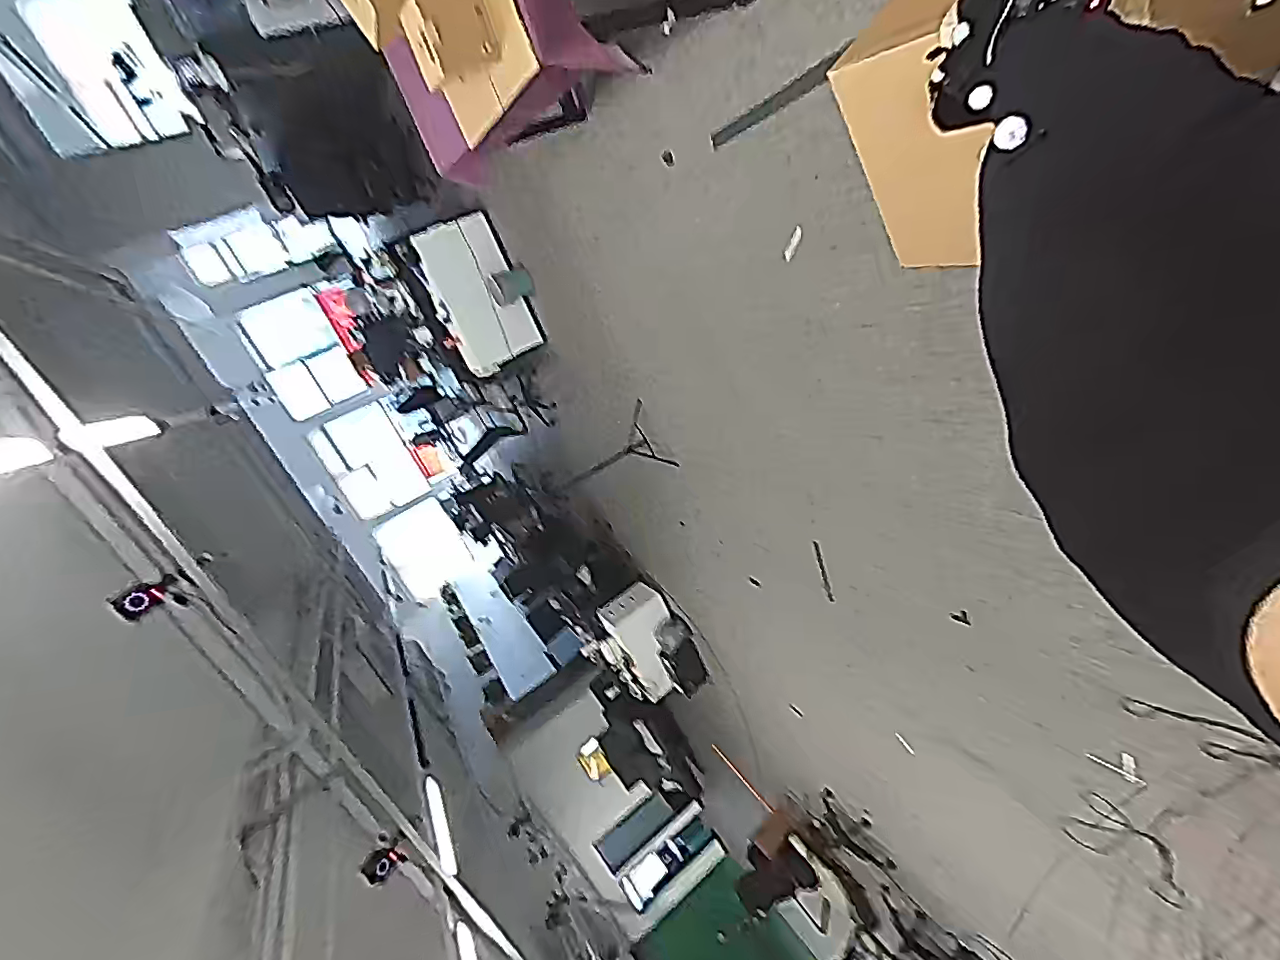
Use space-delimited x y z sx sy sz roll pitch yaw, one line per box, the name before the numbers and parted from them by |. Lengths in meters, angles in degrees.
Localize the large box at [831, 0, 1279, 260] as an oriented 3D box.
large box | 0.524 -0.542 0.675 0.320 0.408 0.320 42 172 -37
